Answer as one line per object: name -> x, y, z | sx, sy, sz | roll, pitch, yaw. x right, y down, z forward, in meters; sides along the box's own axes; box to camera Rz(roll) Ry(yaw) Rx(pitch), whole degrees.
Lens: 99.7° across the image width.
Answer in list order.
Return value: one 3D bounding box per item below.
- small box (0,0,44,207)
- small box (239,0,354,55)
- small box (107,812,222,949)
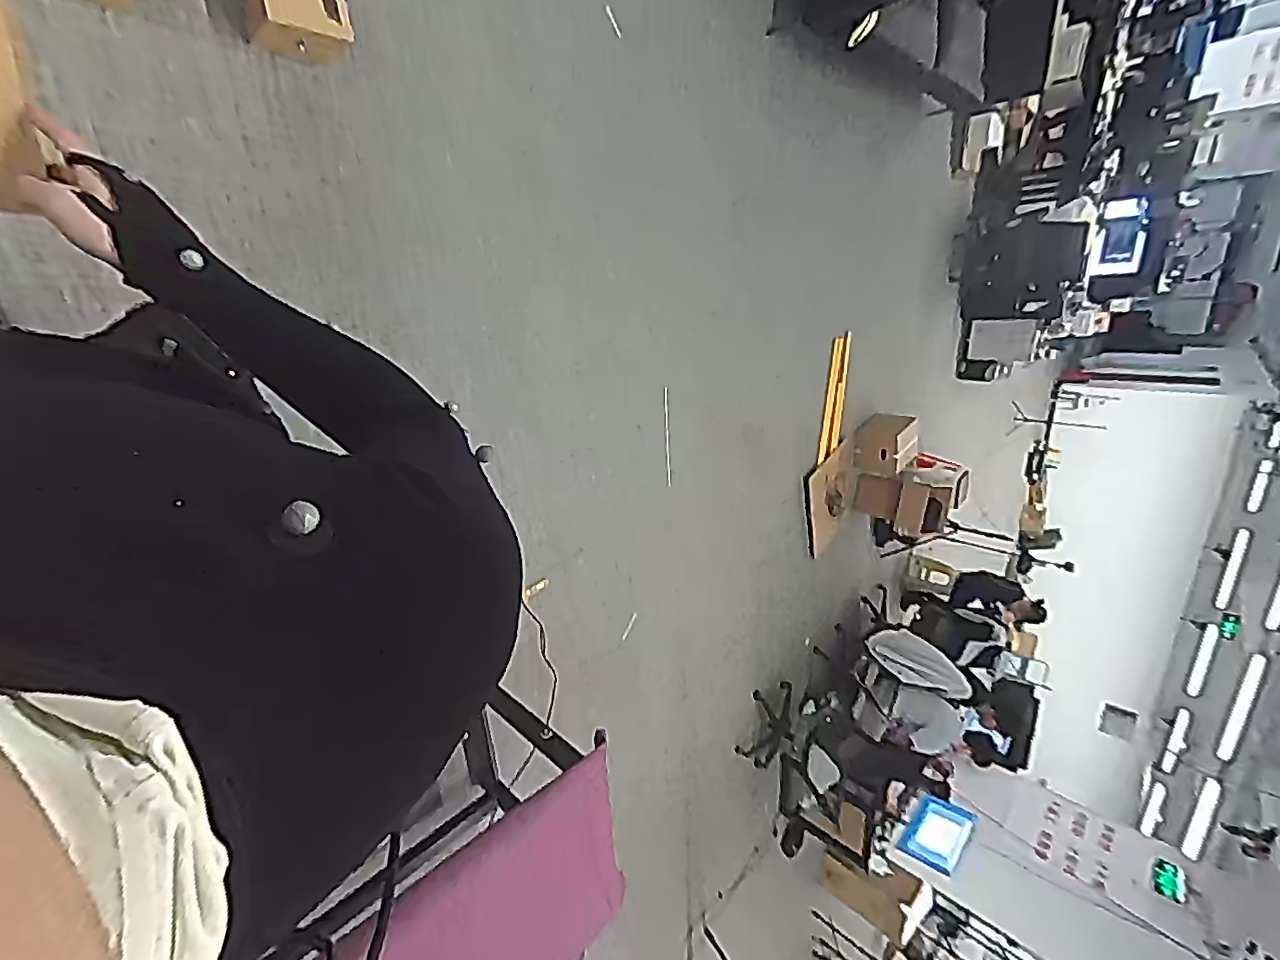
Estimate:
small box -> -0.609, -0.334, 0.423 | 0.168, 0.176, 0.179 | -12, 125, -41
small box -> -0.765, -1.073, 1.190 | 0.179, 0.176, 0.168 | -20, 115, -42
small box -> -1.183, 0.982, 1.346 | 0.179, 0.176, 0.168 | -17, 113, -43
